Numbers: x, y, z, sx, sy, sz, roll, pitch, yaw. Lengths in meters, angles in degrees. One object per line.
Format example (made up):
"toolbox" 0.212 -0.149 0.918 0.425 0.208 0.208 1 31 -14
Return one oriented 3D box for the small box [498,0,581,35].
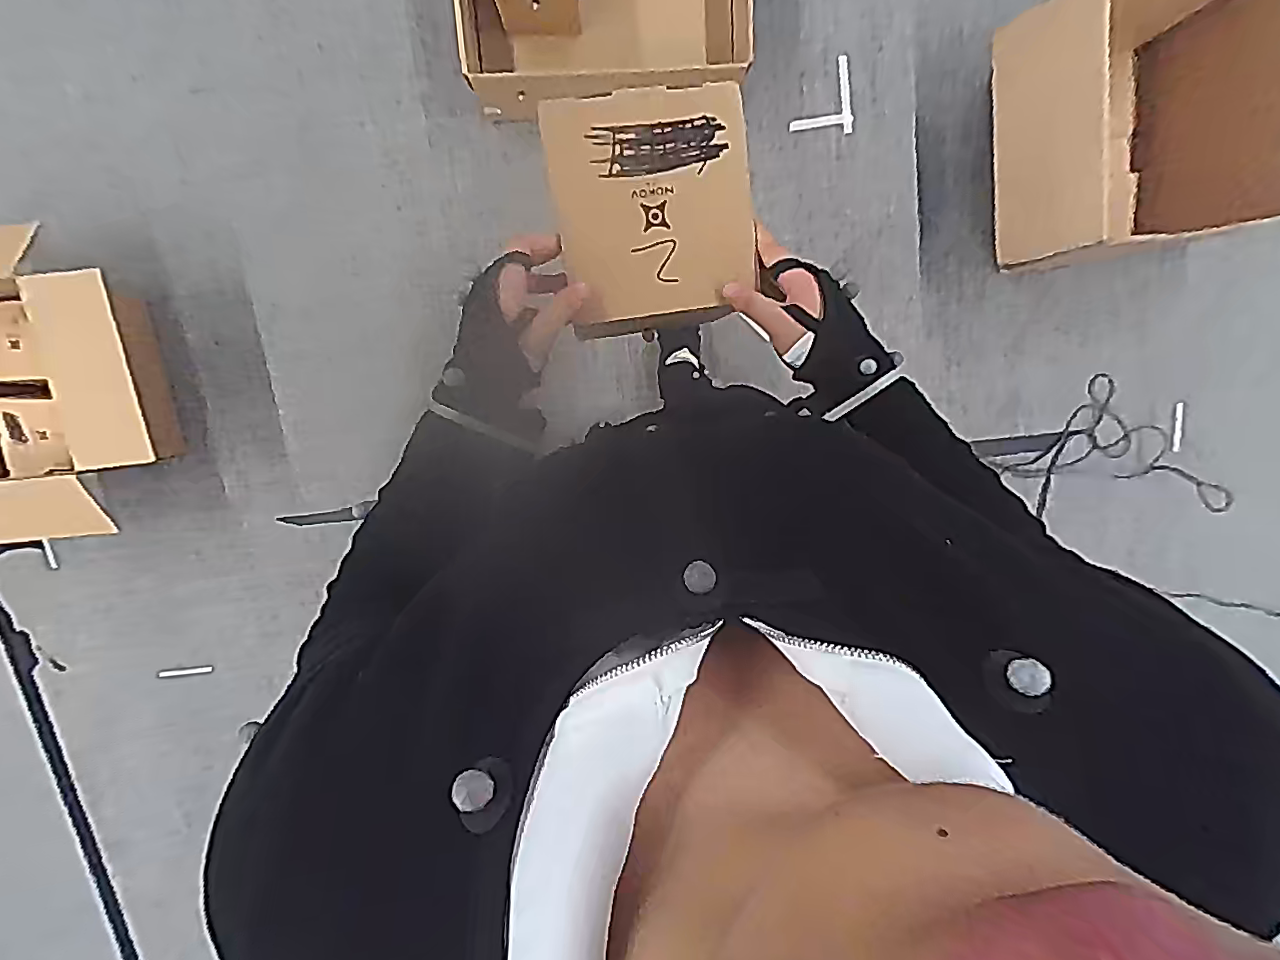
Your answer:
"small box" -0.223 -1.090 1.155 0.179 0.176 0.168 -4 103 -3
